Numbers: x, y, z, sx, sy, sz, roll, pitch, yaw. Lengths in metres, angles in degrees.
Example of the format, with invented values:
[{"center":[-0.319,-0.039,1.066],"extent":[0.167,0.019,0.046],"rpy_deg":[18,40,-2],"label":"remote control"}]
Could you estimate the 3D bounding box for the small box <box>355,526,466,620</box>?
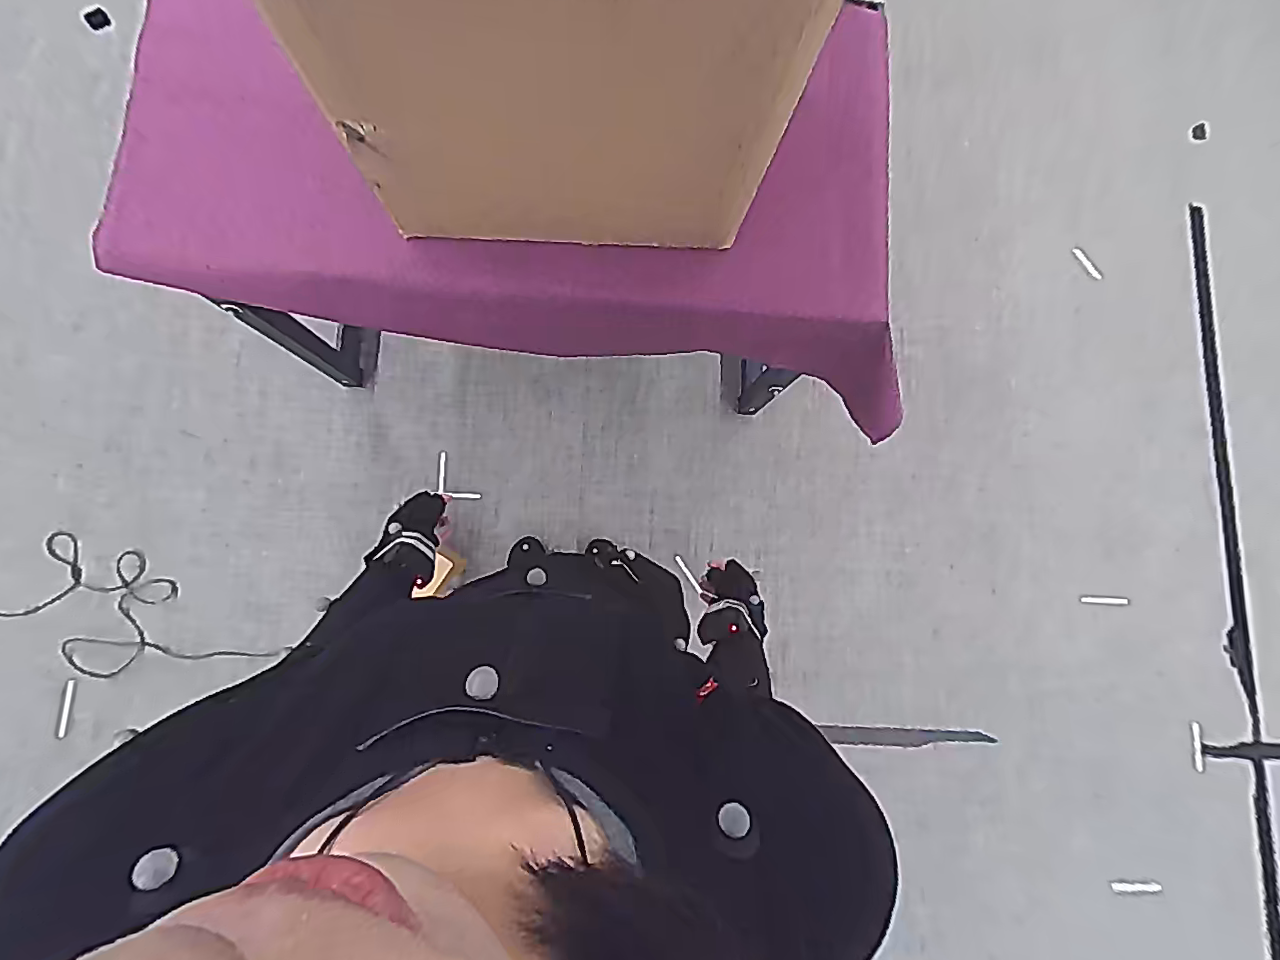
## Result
[{"center":[-0.580,0.237,1.391],"extent":[0.179,0.176,0.168],"rpy_deg":[34,81,-1],"label":"small box"}]
